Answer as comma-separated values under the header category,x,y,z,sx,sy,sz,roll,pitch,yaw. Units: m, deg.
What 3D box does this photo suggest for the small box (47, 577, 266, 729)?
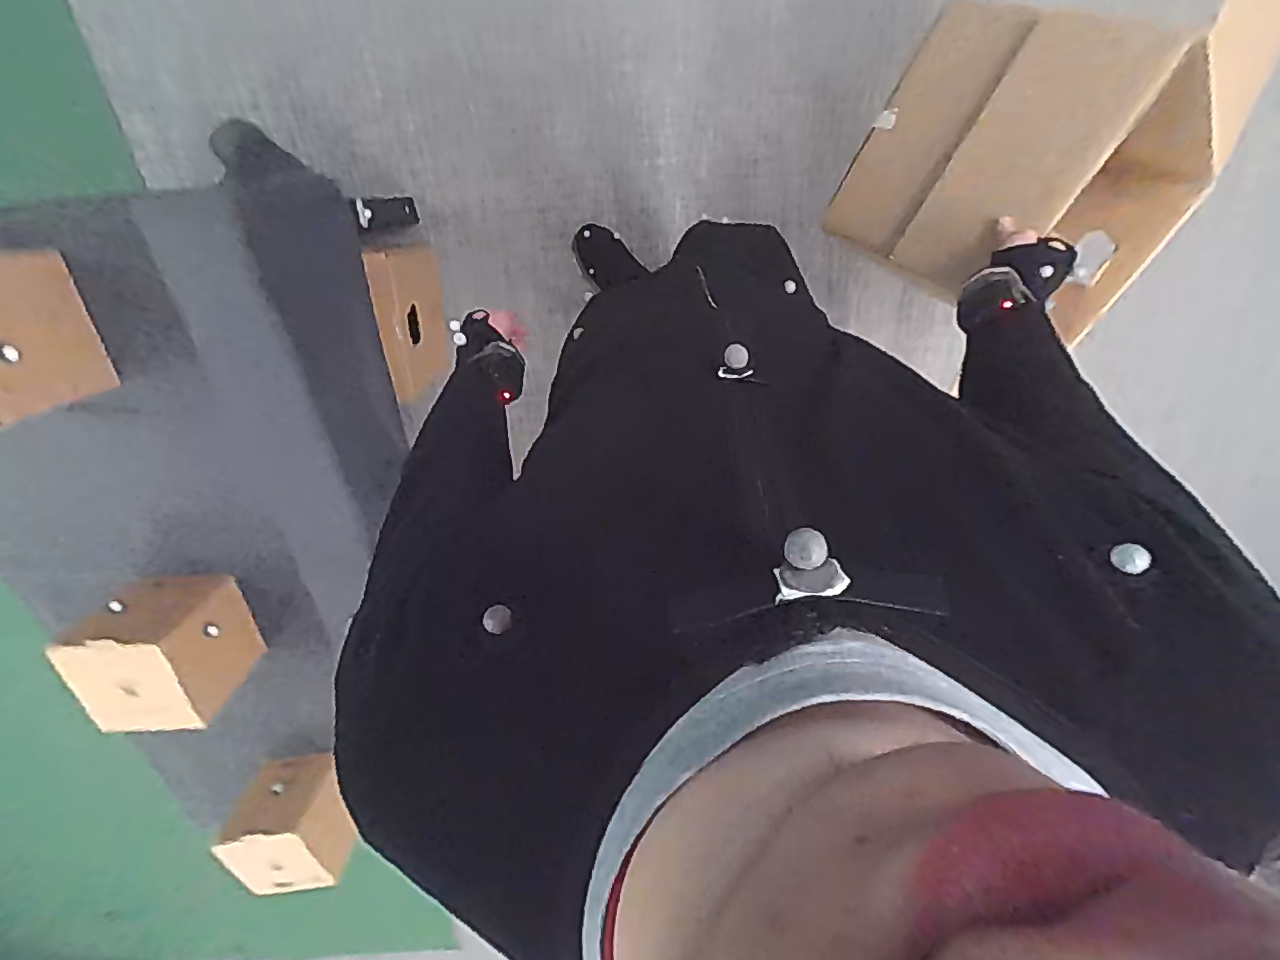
category,x,y,z,sx,sy,sz,roll,pitch,yaw
small box,-0.755,0.270,0.871,0.168,0.176,0.179,-2,118,1

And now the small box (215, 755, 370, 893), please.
category,x,y,z,sx,sy,sz,roll,pitch,yaw
small box,-0.678,0.675,1.080,0.168,0.176,0.179,-10,116,3

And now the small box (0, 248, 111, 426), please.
category,x,y,z,sx,sy,sz,roll,pitch,yaw
small box,-0.801,-0.171,0.638,0.168,0.176,0.179,-2,117,-1
